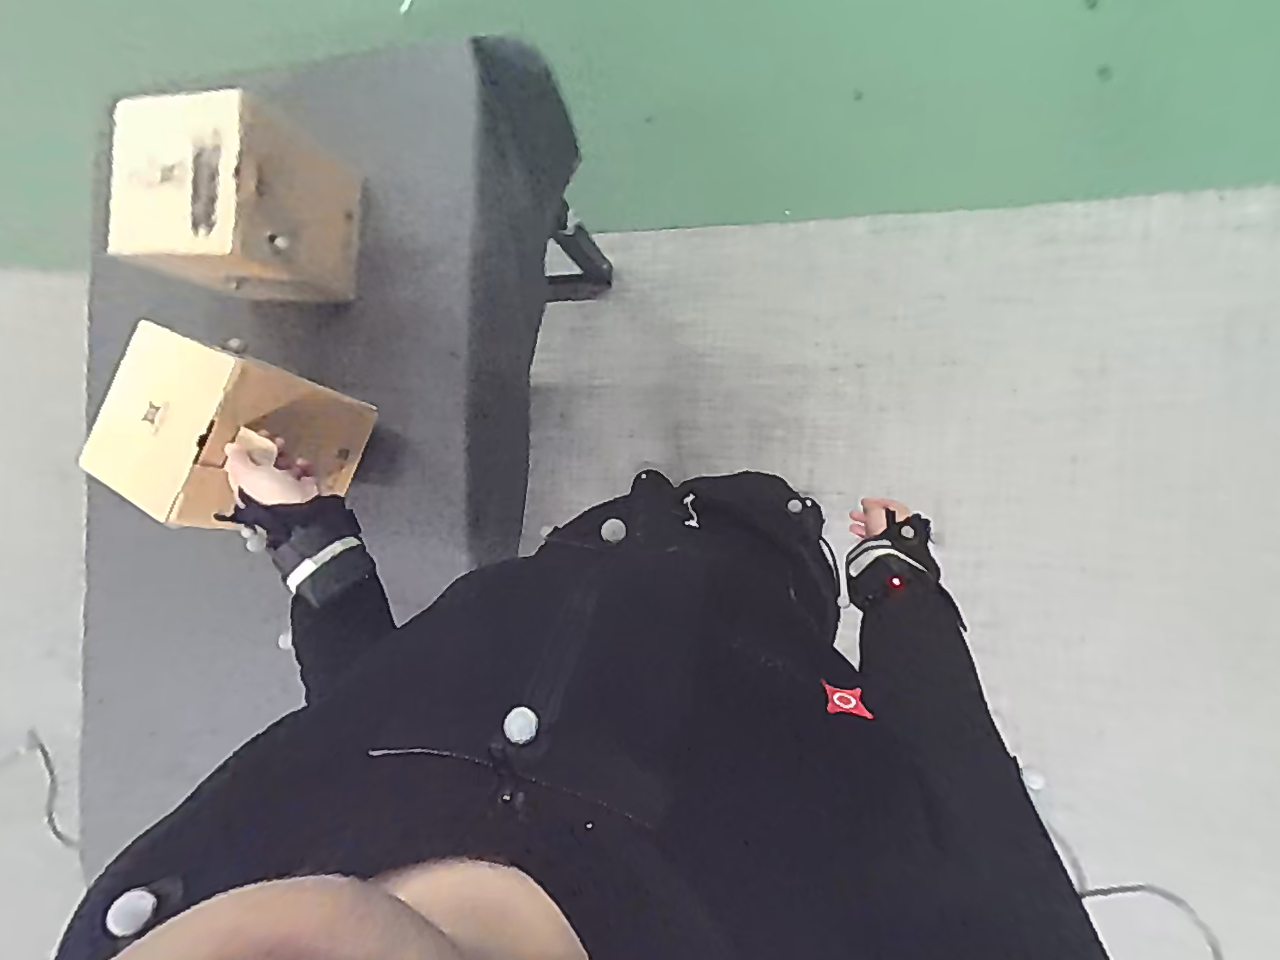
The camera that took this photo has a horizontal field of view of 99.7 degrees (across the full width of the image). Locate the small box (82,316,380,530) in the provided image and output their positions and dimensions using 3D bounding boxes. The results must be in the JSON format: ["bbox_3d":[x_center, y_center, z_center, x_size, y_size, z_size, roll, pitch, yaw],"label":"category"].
[{"bbox_3d":[-0.434,-0.052,0.594,0.179,0.176,0.168,21,87,21],"label":"small box"}]
